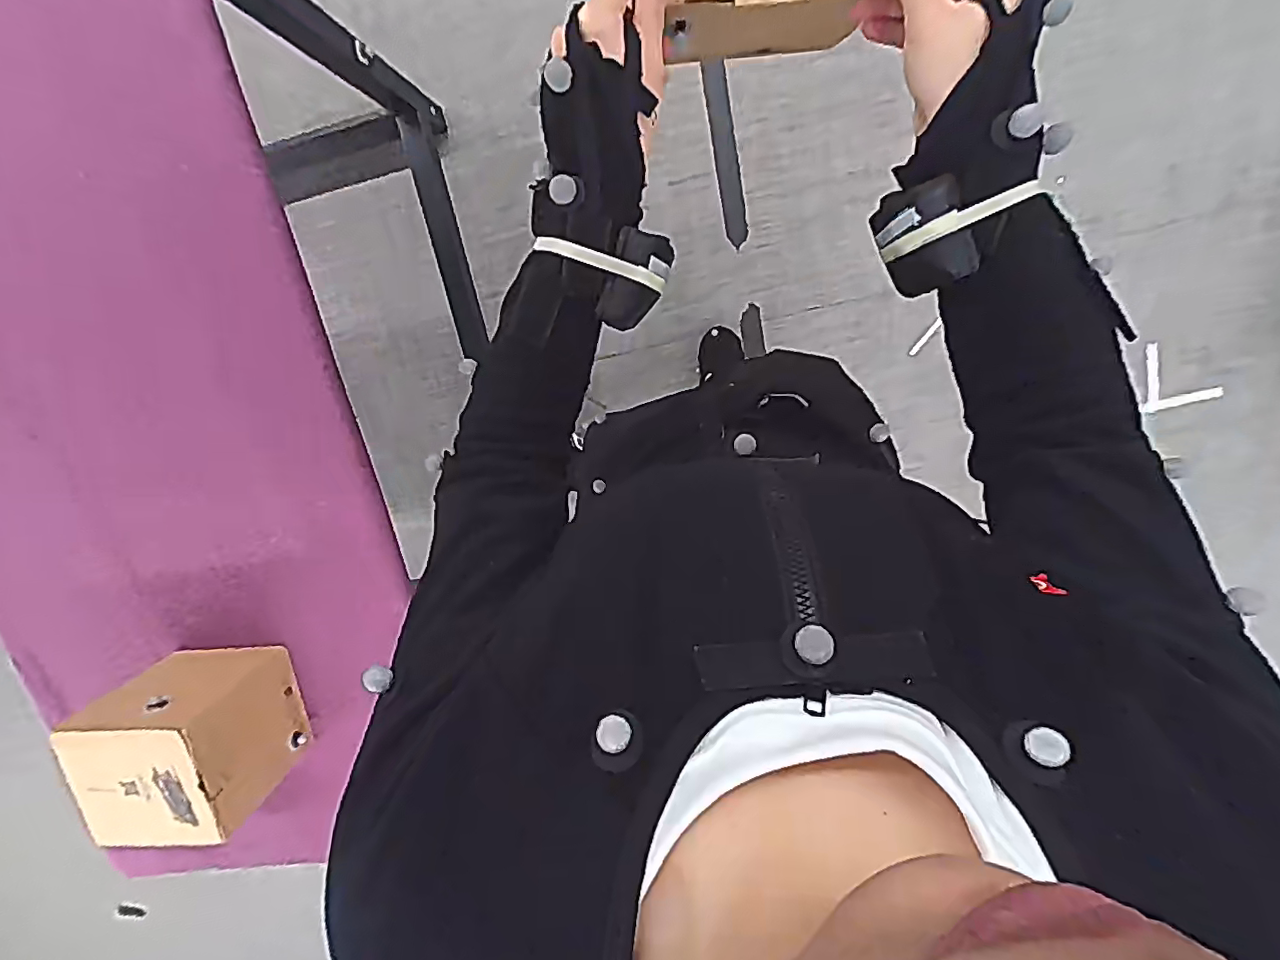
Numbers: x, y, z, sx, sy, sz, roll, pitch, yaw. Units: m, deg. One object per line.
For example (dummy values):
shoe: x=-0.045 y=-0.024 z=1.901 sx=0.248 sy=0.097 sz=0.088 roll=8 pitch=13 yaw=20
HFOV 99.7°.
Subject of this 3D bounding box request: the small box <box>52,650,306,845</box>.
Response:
small box: x=-0.576 y=0.339 z=0.708 sx=0.179 sy=0.176 sz=0.168 roll=-4 pitch=104 yaw=7
